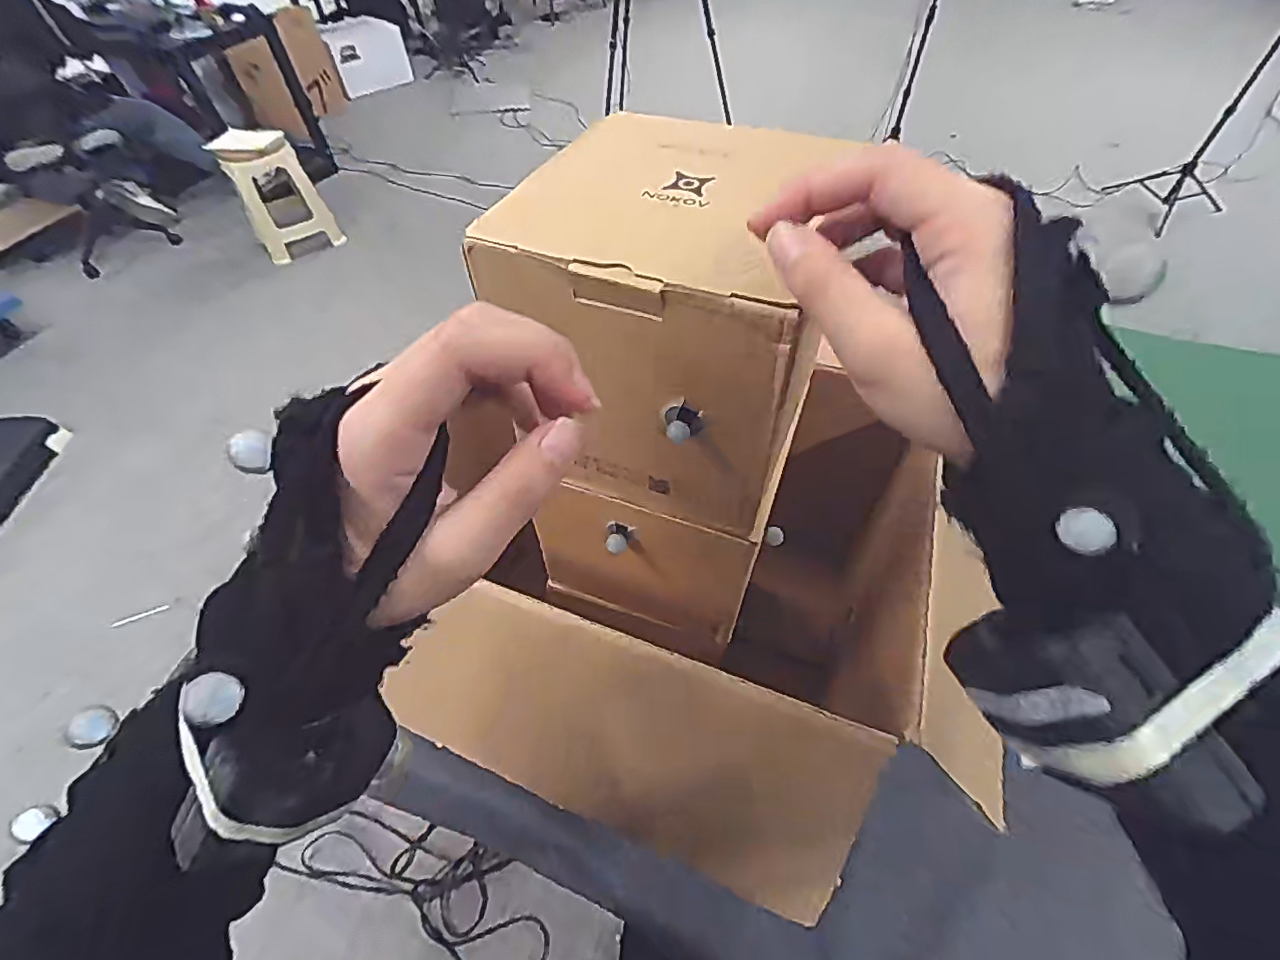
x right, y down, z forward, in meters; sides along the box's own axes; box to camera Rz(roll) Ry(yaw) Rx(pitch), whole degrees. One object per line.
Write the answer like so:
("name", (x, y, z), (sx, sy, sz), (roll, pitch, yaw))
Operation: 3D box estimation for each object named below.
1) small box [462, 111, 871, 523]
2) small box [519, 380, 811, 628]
("small box", (0.025, -0.101, 0.341), (0.168, 0.176, 0.179), (18, 54, 15))
("small box", (0.027, 0.005, 0.464), (0.179, 0.176, 0.168), (17, 54, 15))
